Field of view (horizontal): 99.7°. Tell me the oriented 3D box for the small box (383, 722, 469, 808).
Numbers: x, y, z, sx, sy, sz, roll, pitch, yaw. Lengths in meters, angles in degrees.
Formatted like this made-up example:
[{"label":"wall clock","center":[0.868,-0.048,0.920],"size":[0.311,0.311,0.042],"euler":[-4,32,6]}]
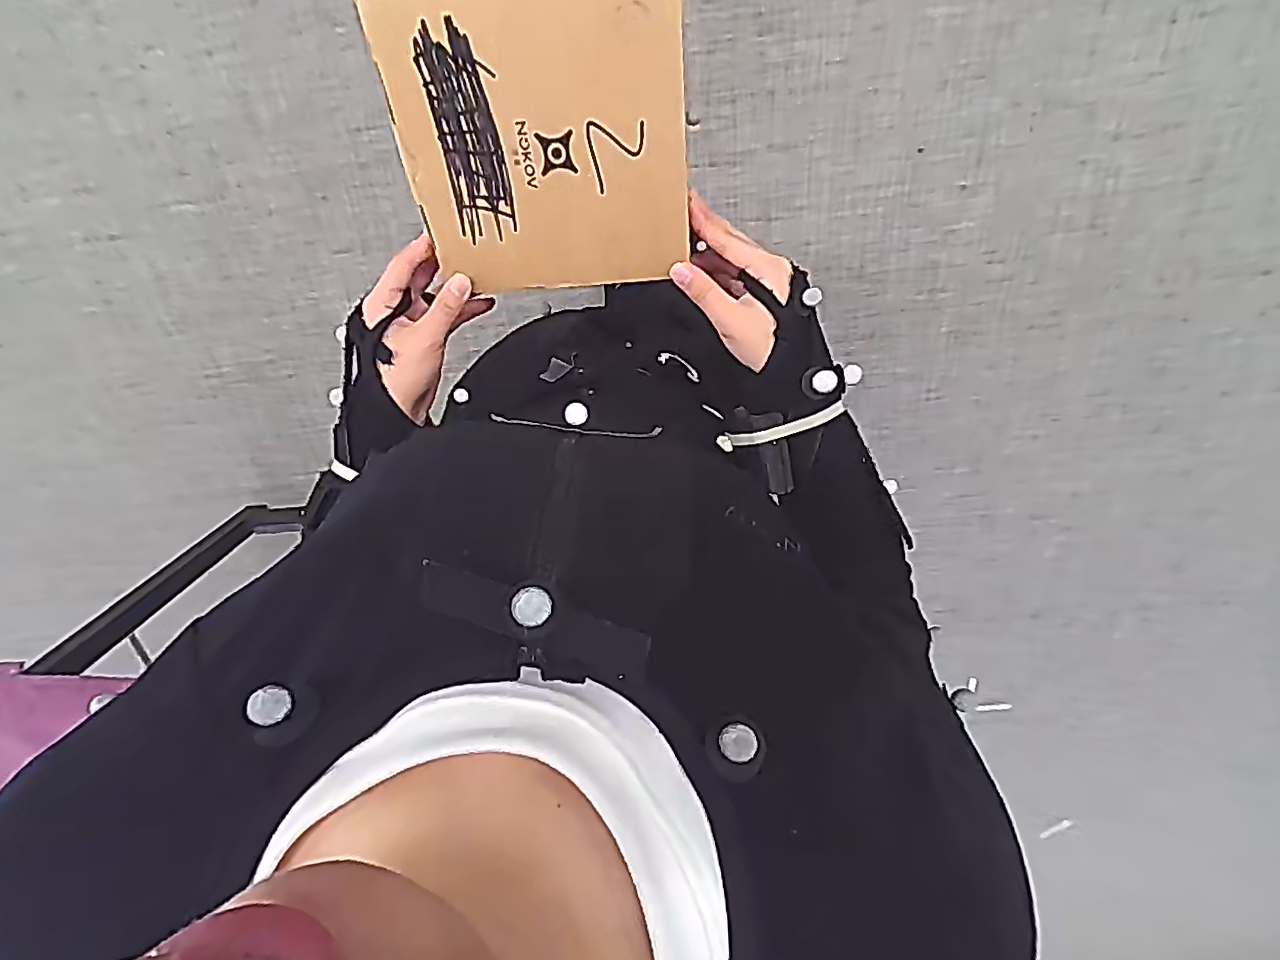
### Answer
[{"label":"small box","center":[-0.661,0.887,1.689],"size":[0.179,0.176,0.168],"euler":[-8,116,3]}]
